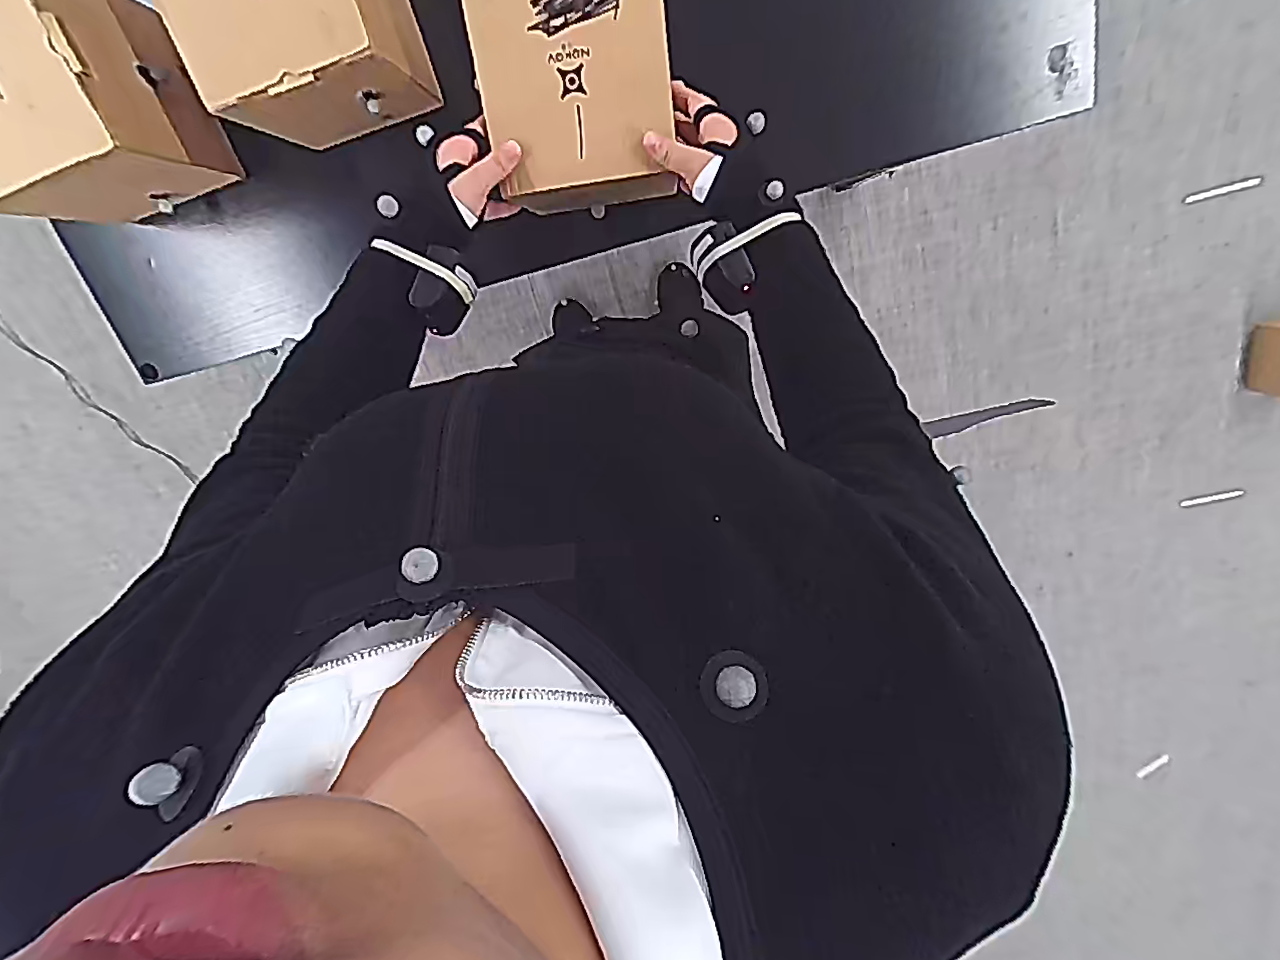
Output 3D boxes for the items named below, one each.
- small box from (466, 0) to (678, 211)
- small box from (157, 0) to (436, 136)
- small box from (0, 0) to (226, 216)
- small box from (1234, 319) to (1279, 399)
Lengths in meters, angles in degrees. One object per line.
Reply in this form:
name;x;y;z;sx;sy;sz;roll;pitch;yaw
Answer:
small box;-0.054;-0.377;0.531;0.168;0.176;0.179;-6;112;4
small box;-0.323;-0.454;0.513;0.168;0.176;0.179;-15;109;6
small box;-0.574;-0.385;0.546;0.179;0.176;0.168;-16;110;7
small box;1.590;-0.295;1.290;0.168;0.176;0.179;-13;111;8
